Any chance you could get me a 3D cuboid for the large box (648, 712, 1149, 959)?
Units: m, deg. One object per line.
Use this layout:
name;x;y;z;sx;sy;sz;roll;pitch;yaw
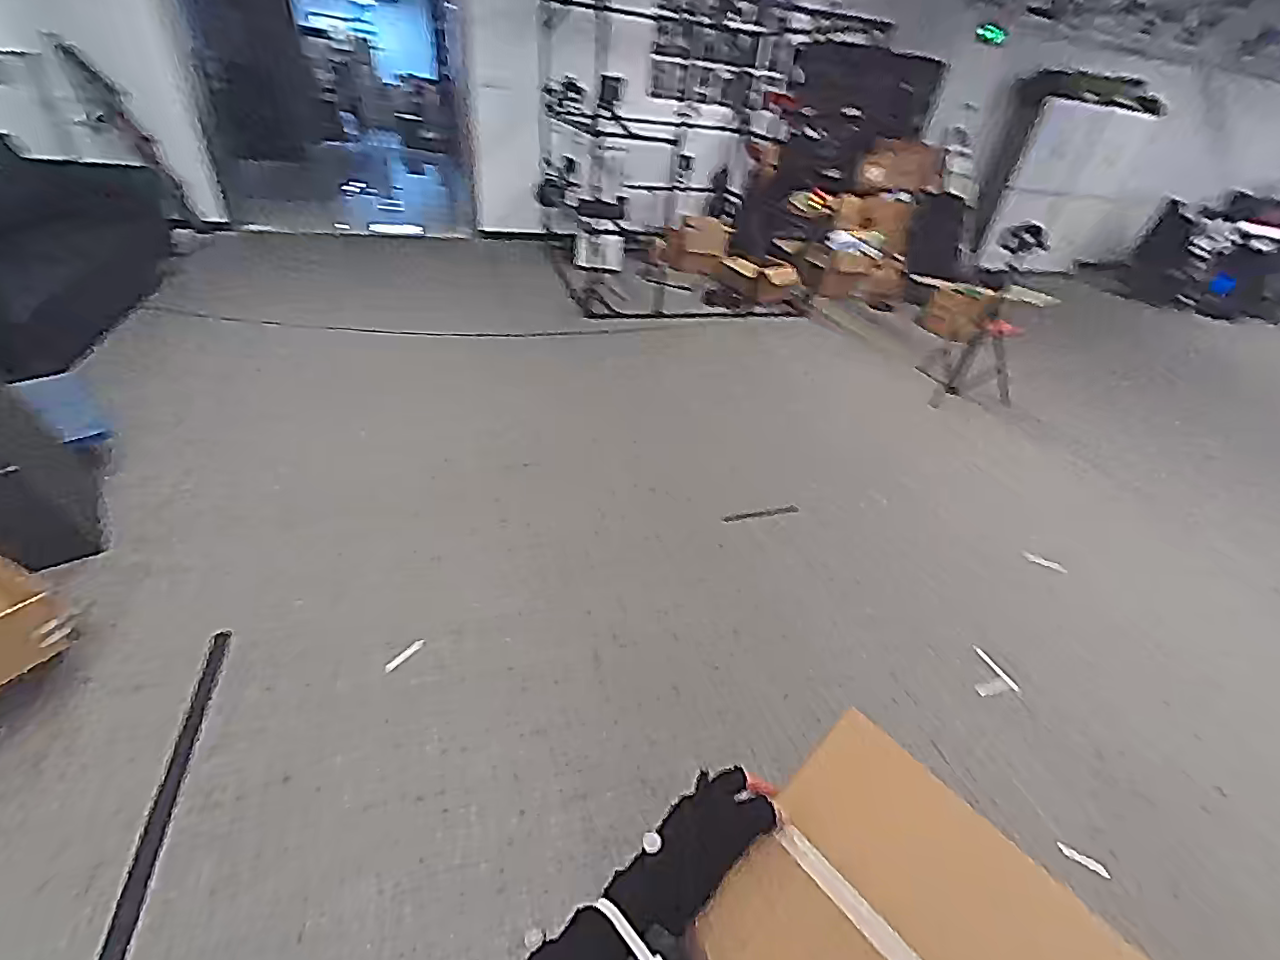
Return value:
large box;0.251;0.533;0.535;0.320;0.320;0.408;-32;56;-30
